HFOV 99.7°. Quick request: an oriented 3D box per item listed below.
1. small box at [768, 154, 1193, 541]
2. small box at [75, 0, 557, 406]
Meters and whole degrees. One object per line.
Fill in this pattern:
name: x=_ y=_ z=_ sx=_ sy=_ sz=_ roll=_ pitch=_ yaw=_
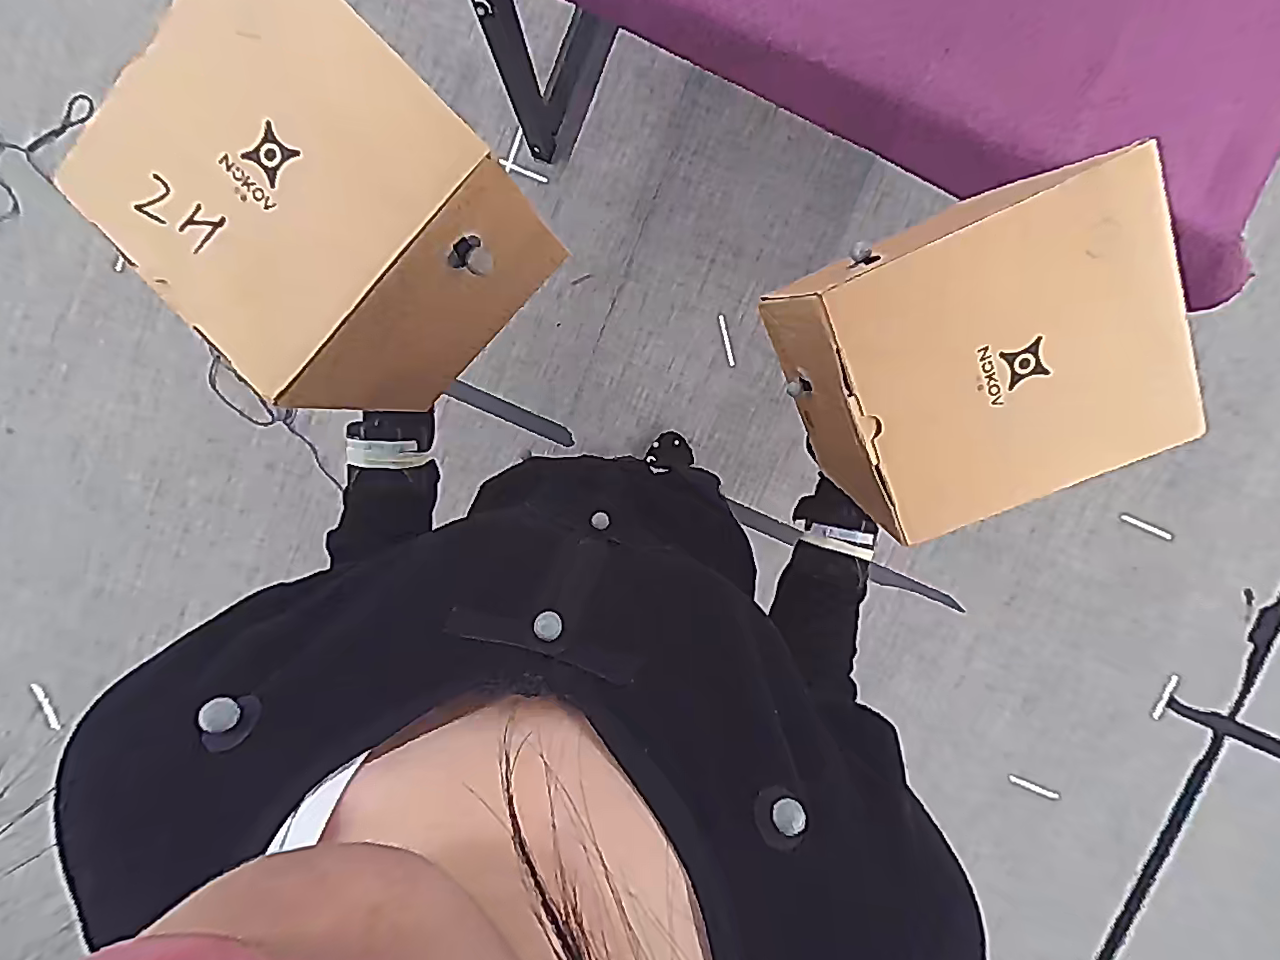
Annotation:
small box: x=0.213 y=-0.089 z=0.381 sx=0.179 sy=0.176 sz=0.168 roll=-24 pitch=105 yaw=9
small box: x=-0.173 y=-0.166 z=0.352 sx=0.179 sy=0.176 sz=0.168 roll=-44 pitch=90 yaw=9
